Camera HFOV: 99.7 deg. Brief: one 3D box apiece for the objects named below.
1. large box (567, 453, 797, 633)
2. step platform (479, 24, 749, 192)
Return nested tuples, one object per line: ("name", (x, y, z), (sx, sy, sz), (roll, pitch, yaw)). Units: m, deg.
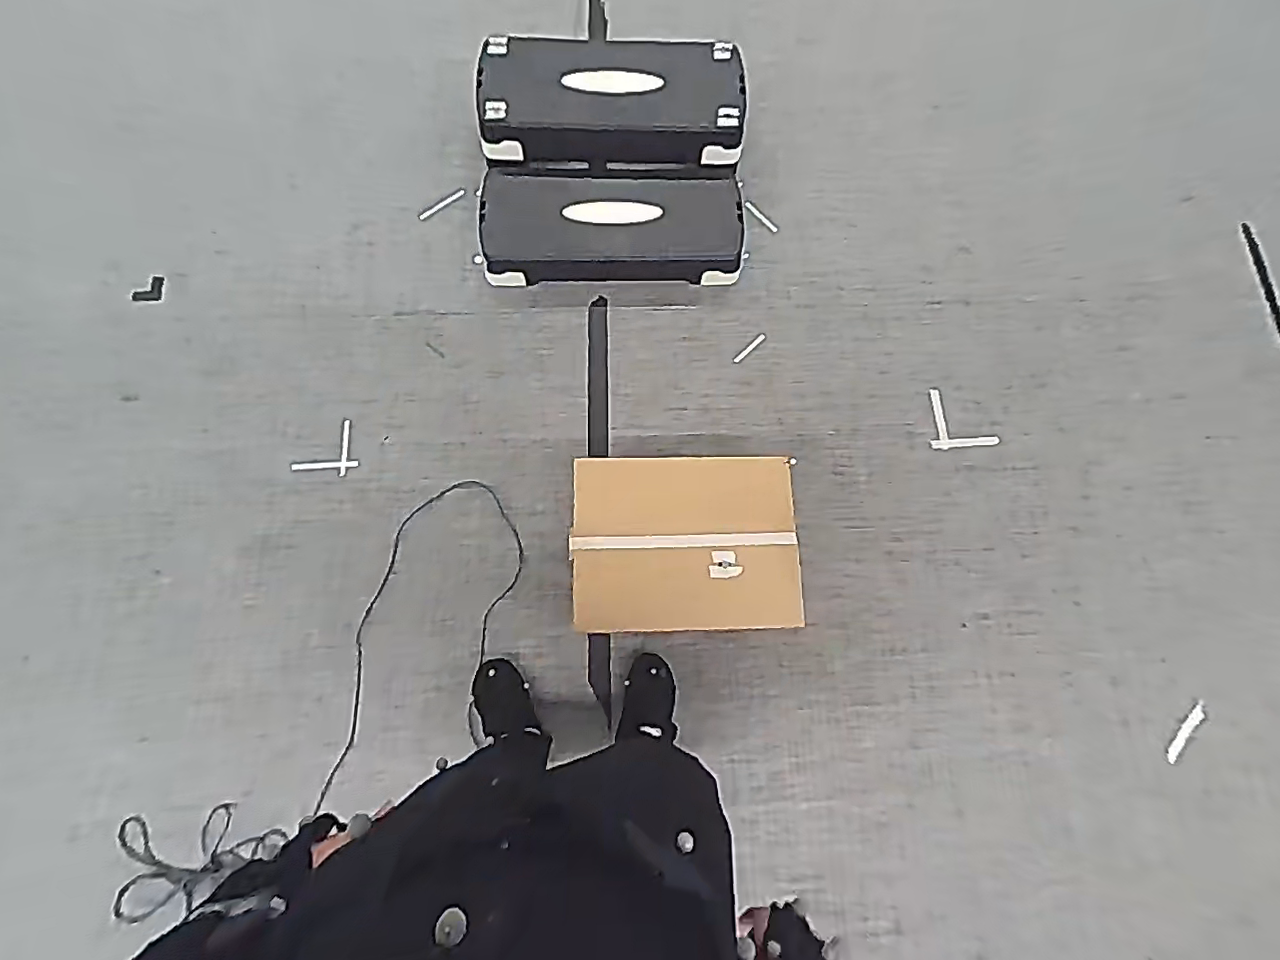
("large box", (0.063, 0.139, 1.110), (0.408, 0.320, 0.320), (-1, 77, -3))
("step platform", (-0.063, -0.962, 1.407), (0.684, 0.204, 0.286), (4, 77, -2))
